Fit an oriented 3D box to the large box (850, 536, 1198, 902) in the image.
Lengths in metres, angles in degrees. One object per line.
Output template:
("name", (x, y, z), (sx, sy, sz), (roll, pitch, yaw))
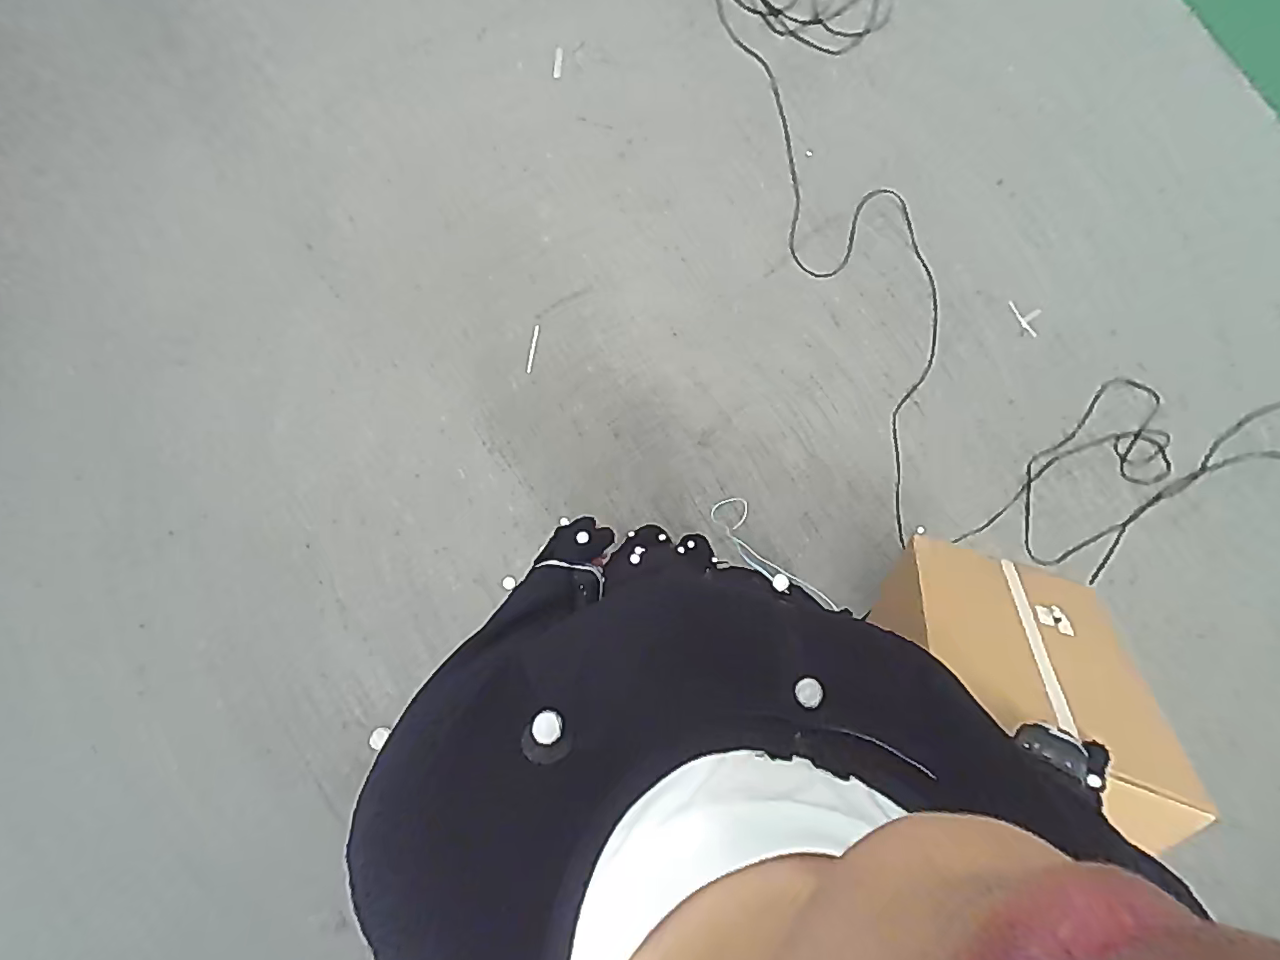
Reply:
("large box", (0.557, 0.368, 0.903), (0.320, 0.408, 0.320), (19, 124, 11))
